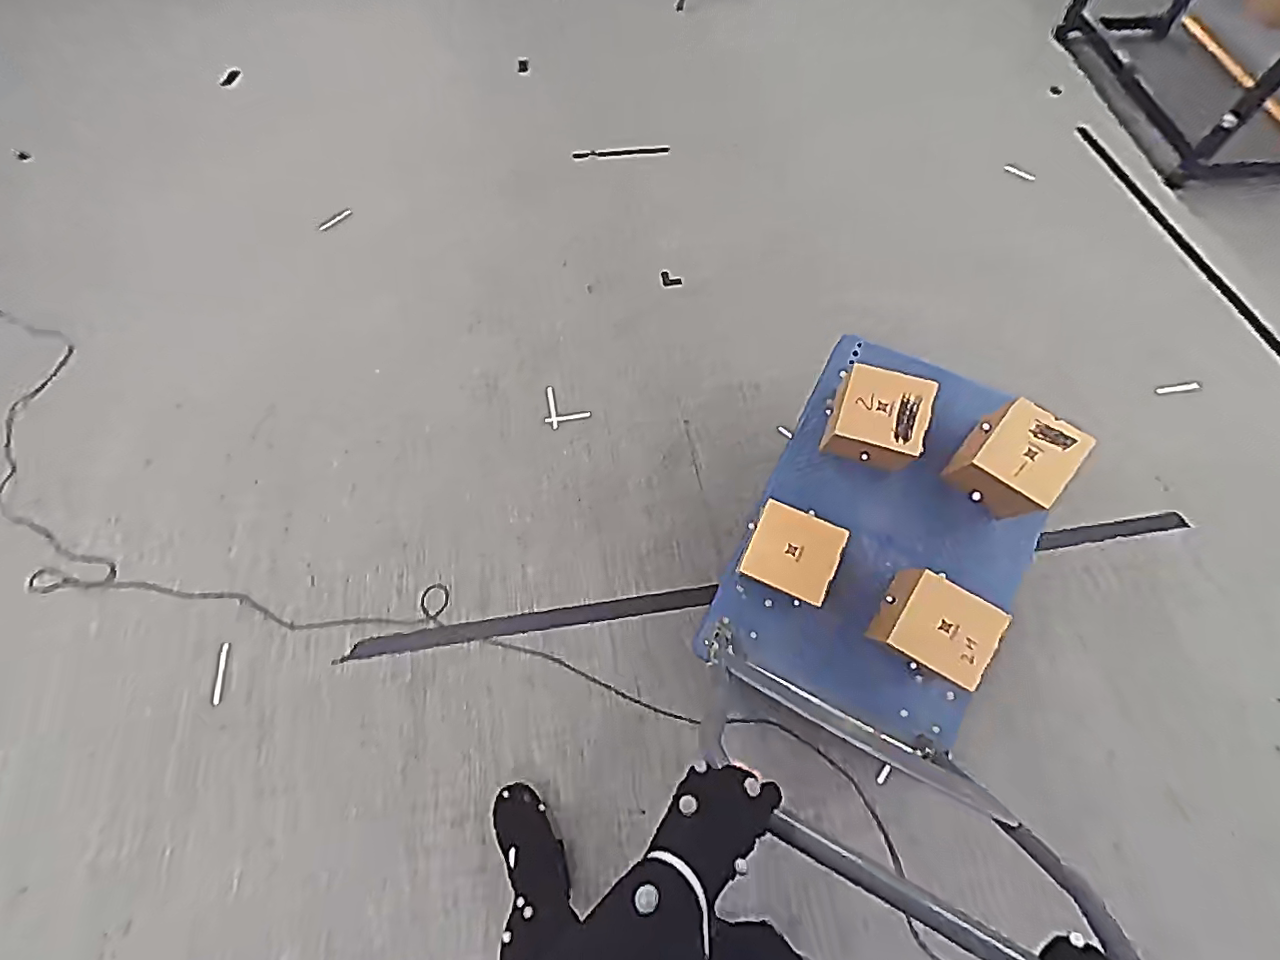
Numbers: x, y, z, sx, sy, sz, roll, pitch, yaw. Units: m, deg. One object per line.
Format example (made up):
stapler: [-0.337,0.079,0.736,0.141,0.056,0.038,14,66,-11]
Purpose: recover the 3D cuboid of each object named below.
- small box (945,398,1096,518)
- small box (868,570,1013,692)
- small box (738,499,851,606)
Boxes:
small box: [0.792,-0.038,1.148,0.168,0.176,0.179,37,87,13]
small box: [0.599,0.302,1.106,0.179,0.176,0.168,31,85,12]
small box: [0.322,0.161,1.171,0.179,0.176,0.168,24,83,10]
